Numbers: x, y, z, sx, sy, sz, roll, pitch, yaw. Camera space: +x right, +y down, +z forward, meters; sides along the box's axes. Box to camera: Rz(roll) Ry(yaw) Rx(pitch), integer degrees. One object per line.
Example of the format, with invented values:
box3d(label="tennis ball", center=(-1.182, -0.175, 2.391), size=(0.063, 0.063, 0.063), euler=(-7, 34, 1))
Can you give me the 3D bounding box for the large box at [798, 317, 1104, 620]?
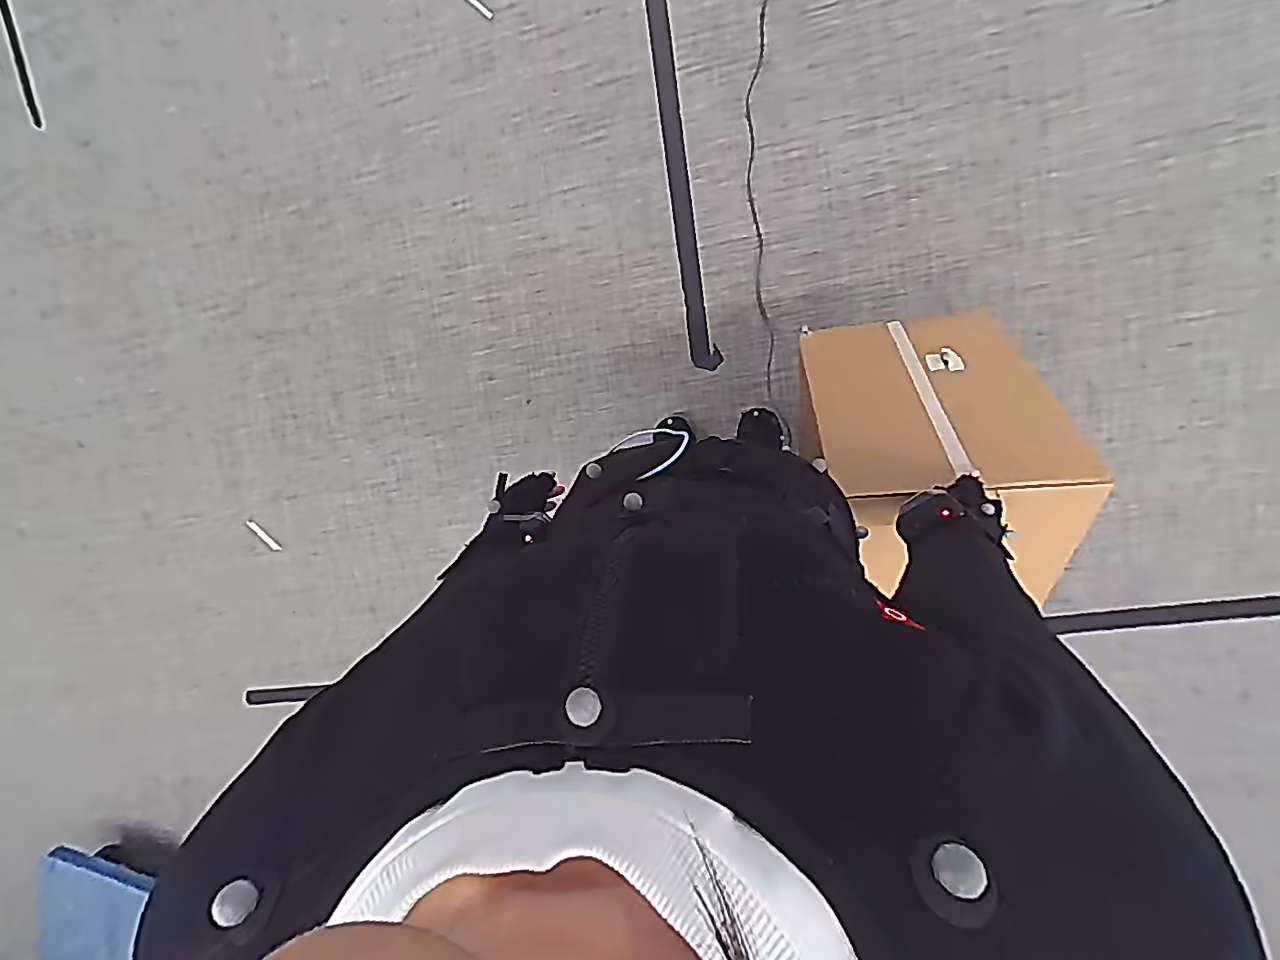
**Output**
box3d(label="large box", center=(0.450, -0.020, 0.910), size=(0.320, 0.408, 0.320), euler=(-4, 134, 10))
